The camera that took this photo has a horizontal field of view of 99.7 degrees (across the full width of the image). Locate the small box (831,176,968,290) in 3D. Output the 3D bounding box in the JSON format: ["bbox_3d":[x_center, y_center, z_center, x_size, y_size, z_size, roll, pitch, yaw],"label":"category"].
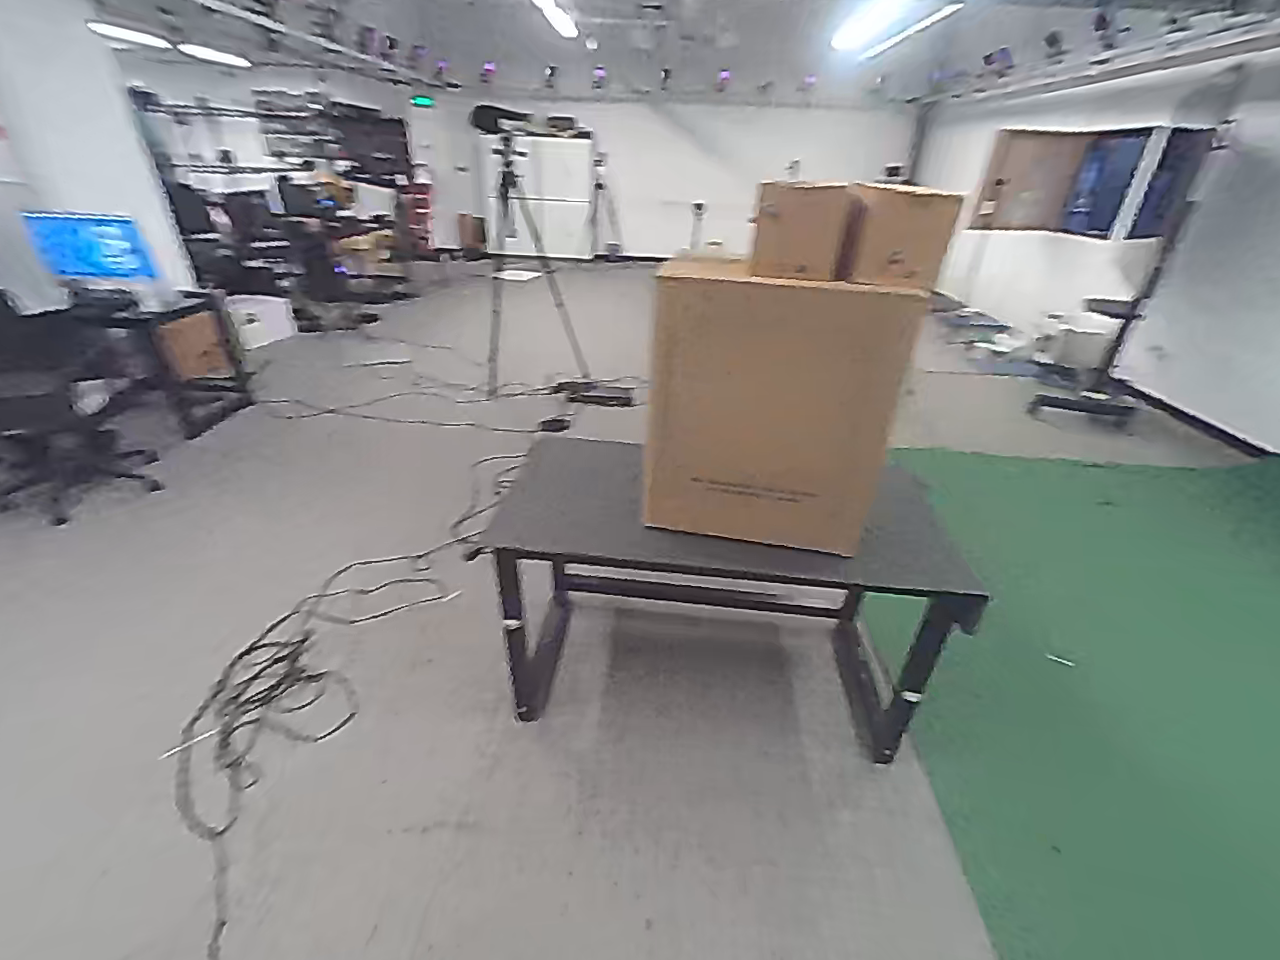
[{"bbox_3d":[0.498,-0.491,1.070,0.168,0.176,0.179,5,34,-2],"label":"small box"}]
